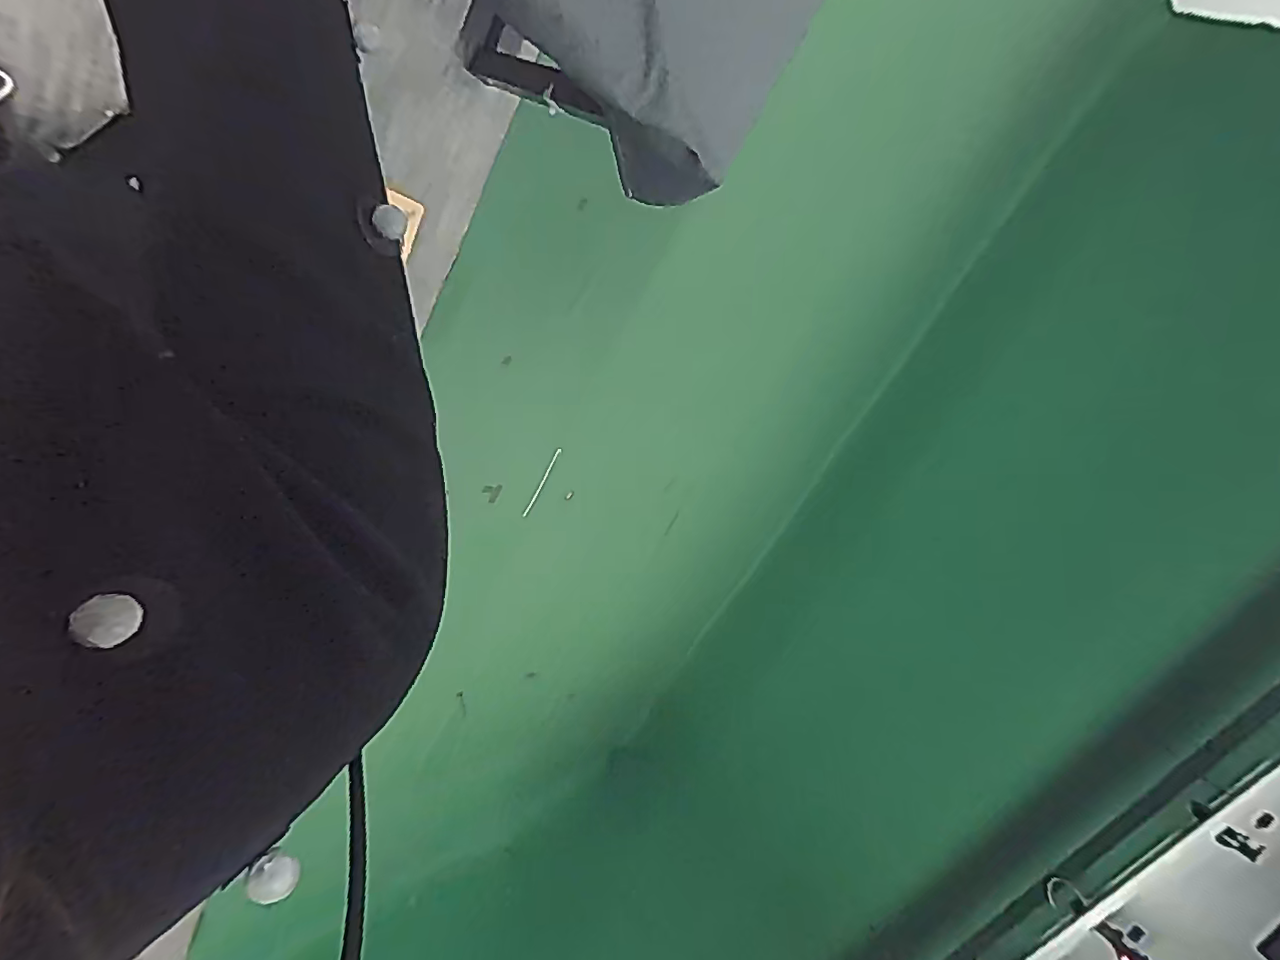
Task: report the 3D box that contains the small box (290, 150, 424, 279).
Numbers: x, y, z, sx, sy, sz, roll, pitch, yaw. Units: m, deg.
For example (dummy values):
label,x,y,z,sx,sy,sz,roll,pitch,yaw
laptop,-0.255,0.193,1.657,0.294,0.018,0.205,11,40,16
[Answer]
label,x,y,z,sx,sy,sz,roll,pitch,yaw
small box,-0.578,-0.539,1.096,0.179,0.176,0.168,6,119,-52
